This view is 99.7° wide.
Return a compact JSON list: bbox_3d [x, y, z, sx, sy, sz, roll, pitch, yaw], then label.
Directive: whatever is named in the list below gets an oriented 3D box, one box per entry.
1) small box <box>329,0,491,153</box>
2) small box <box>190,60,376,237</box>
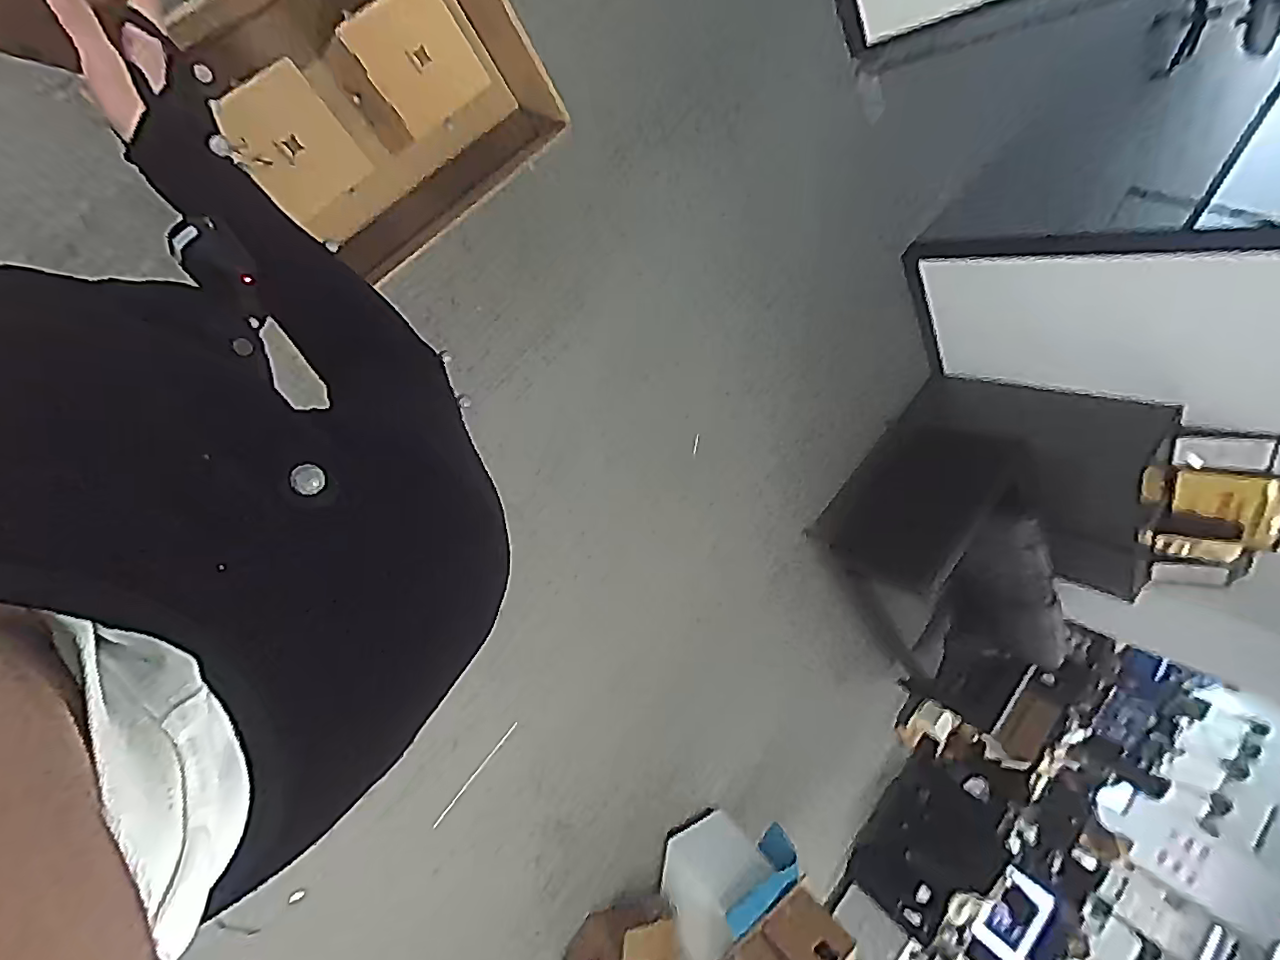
[{"bbox_3d":[-0.394,-0.692,0.917,0.179,0.176,0.168,-47,129,-11],"label":"small box"},{"bbox_3d":[-0.562,-0.509,0.854,0.179,0.176,0.168,-47,128,-14],"label":"small box"}]
